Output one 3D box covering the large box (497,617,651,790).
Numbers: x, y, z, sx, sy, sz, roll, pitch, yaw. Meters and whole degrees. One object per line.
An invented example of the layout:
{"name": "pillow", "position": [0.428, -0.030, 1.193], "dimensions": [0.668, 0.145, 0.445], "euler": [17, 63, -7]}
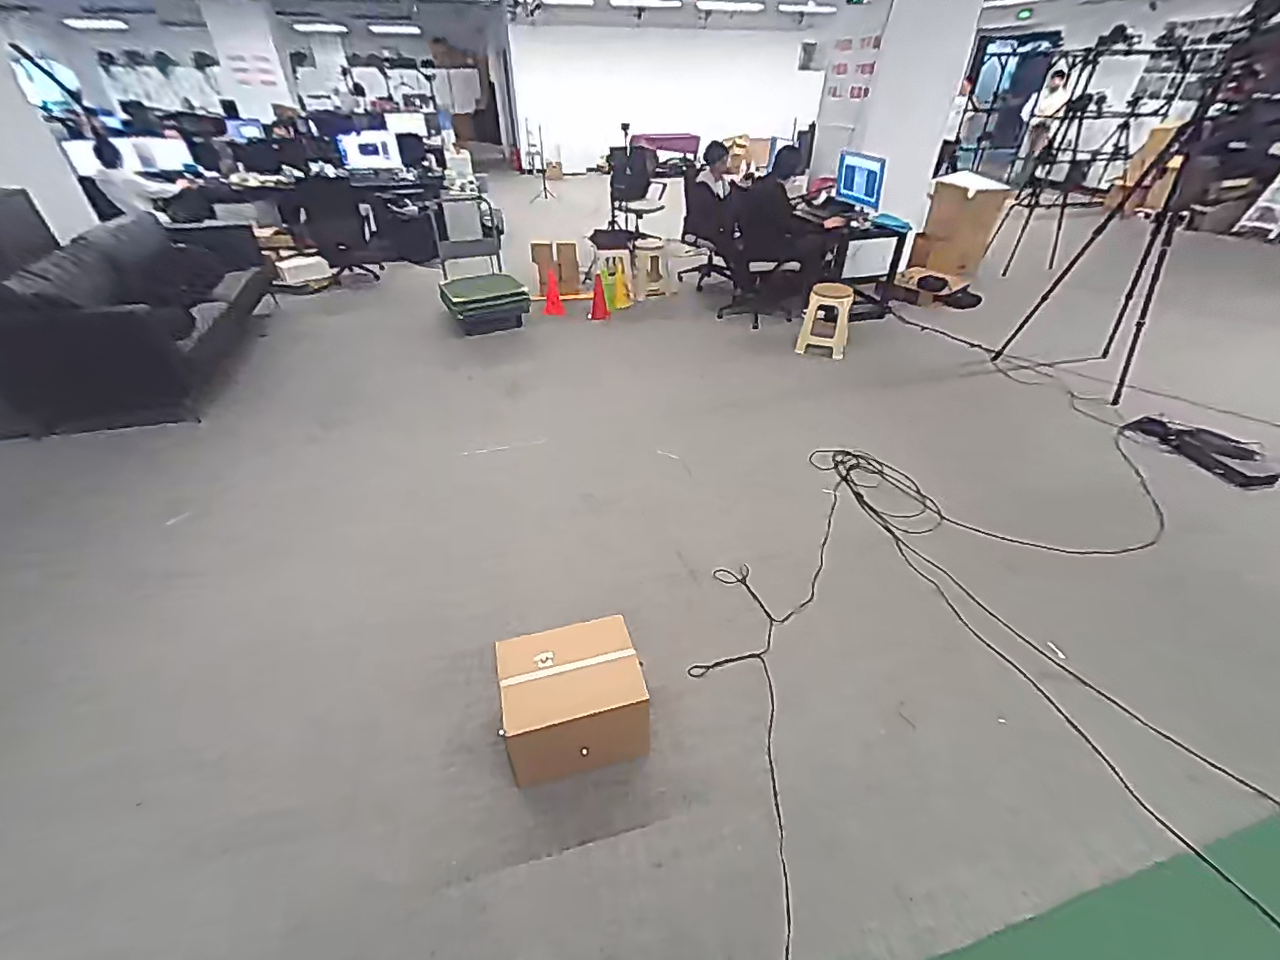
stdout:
{"name": "large box", "position": [-0.201, 0.684, 1.674], "dimensions": [0.408, 0.320, 0.320], "euler": [-11, 37, -13]}
